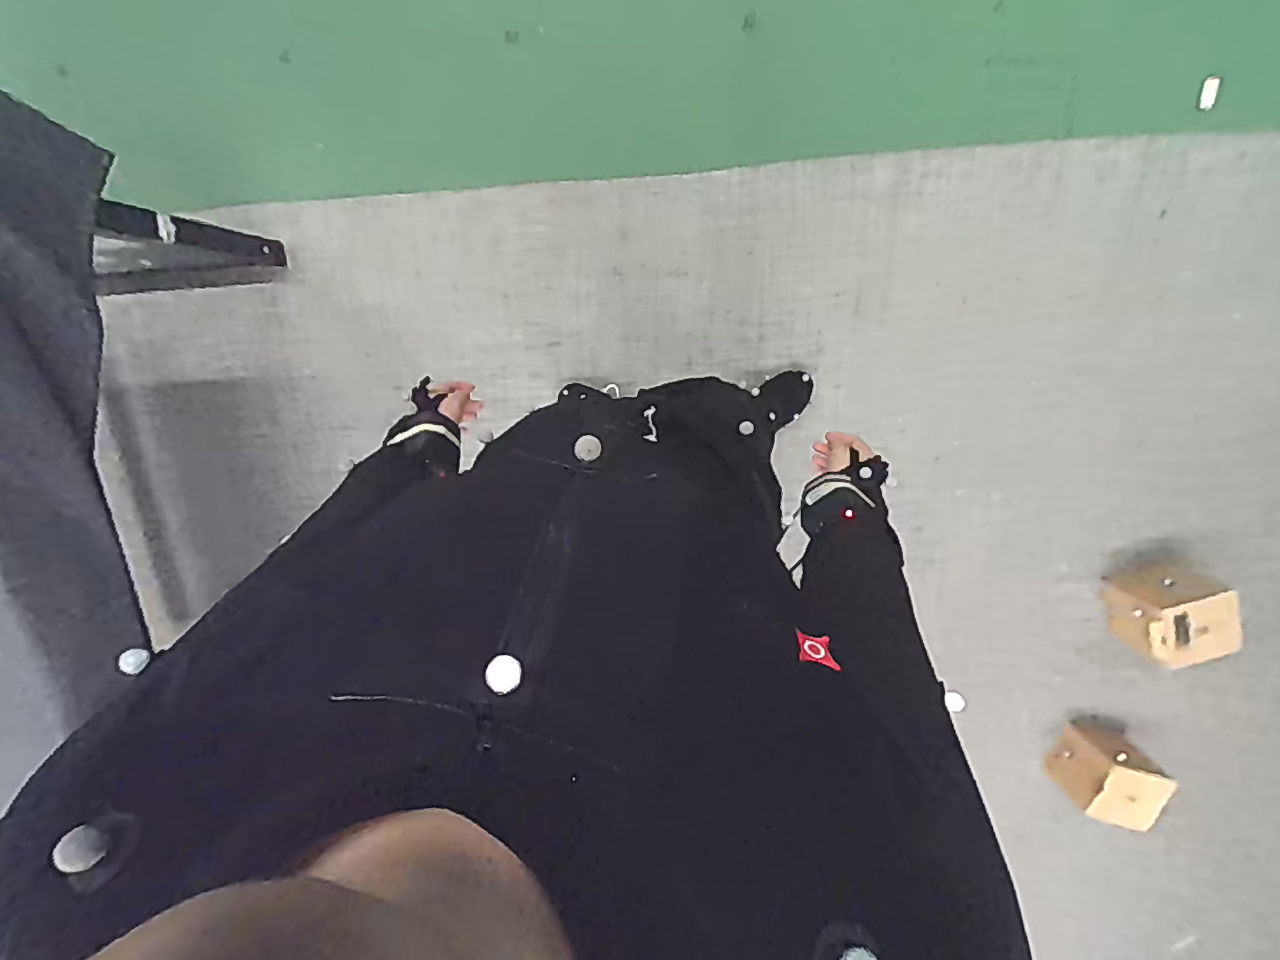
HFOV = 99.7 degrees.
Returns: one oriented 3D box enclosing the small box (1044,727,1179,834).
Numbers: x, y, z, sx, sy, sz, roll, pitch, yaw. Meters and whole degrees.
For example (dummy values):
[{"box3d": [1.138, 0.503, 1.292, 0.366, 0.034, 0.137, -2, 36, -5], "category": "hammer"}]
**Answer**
[{"box3d": [1.250, 0.796, 1.448, 0.179, 0.176, 0.168, 15, 105, -2], "category": "small box"}]
